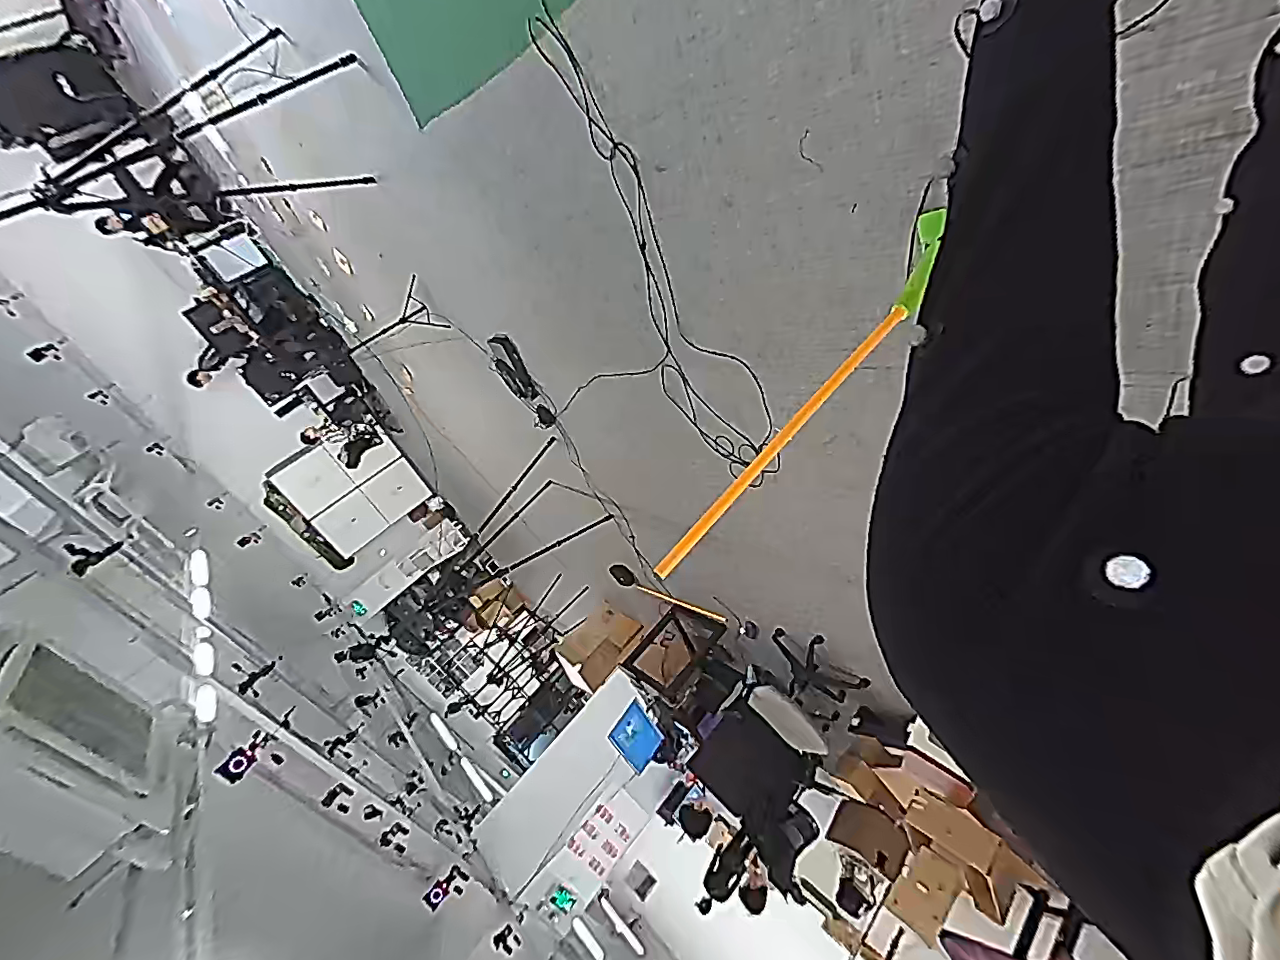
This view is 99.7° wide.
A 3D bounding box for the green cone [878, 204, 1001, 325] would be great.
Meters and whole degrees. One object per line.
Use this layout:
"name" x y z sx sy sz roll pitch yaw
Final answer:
"green cone" 0.700 -0.493 1.332 0.202 0.368 0.200 13 139 53
